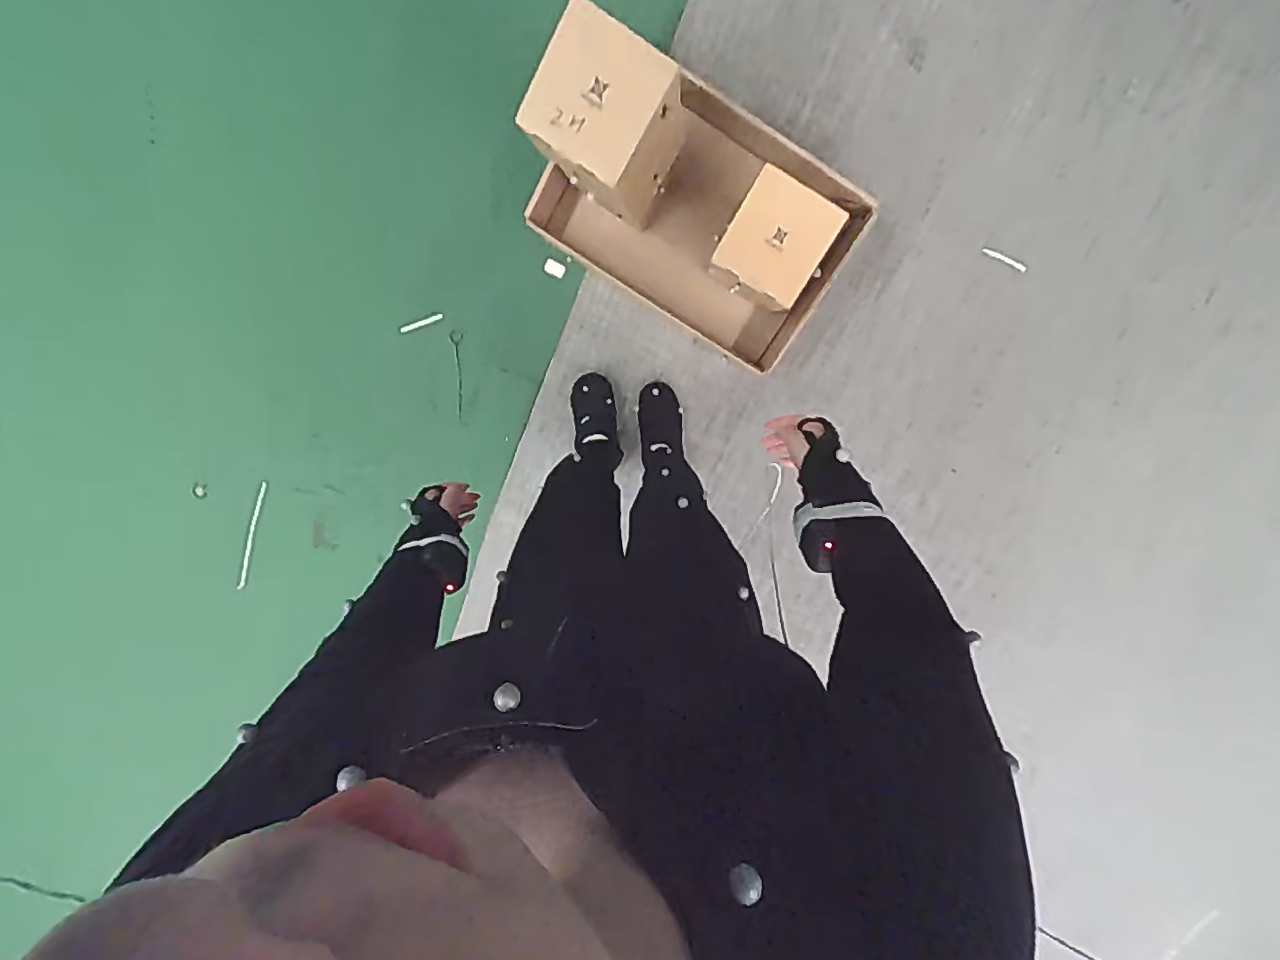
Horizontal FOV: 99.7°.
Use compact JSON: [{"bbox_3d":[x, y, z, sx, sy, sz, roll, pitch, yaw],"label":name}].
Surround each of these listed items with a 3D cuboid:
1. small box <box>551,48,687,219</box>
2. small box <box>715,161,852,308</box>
[{"bbox_3d":[-0.032,-0.600,0.964,0.168,0.176,0.179,34,108,-7],"label":"small box"},{"bbox_3d":[0.247,-0.435,0.987,0.168,0.176,0.179,30,109,-4],"label":"small box"}]
